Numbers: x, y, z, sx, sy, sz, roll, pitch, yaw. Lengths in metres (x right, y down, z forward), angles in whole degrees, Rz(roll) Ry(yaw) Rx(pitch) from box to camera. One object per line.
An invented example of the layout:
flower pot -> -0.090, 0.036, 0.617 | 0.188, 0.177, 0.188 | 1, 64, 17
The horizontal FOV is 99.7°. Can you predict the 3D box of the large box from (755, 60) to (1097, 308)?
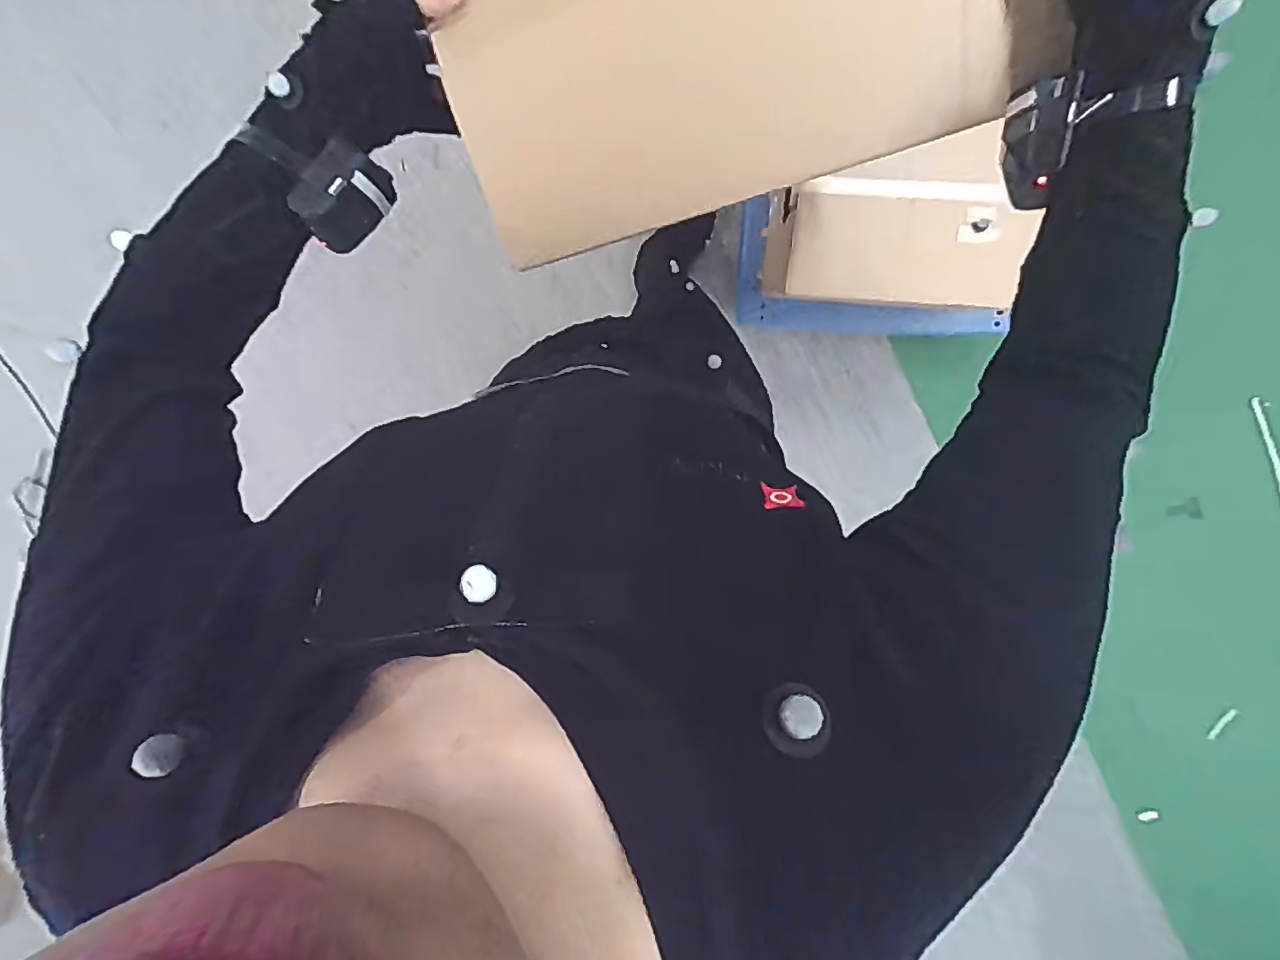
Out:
large box -> 0.432, -0.472, 0.936 | 0.408, 0.320, 0.320 | 5, 108, 3
